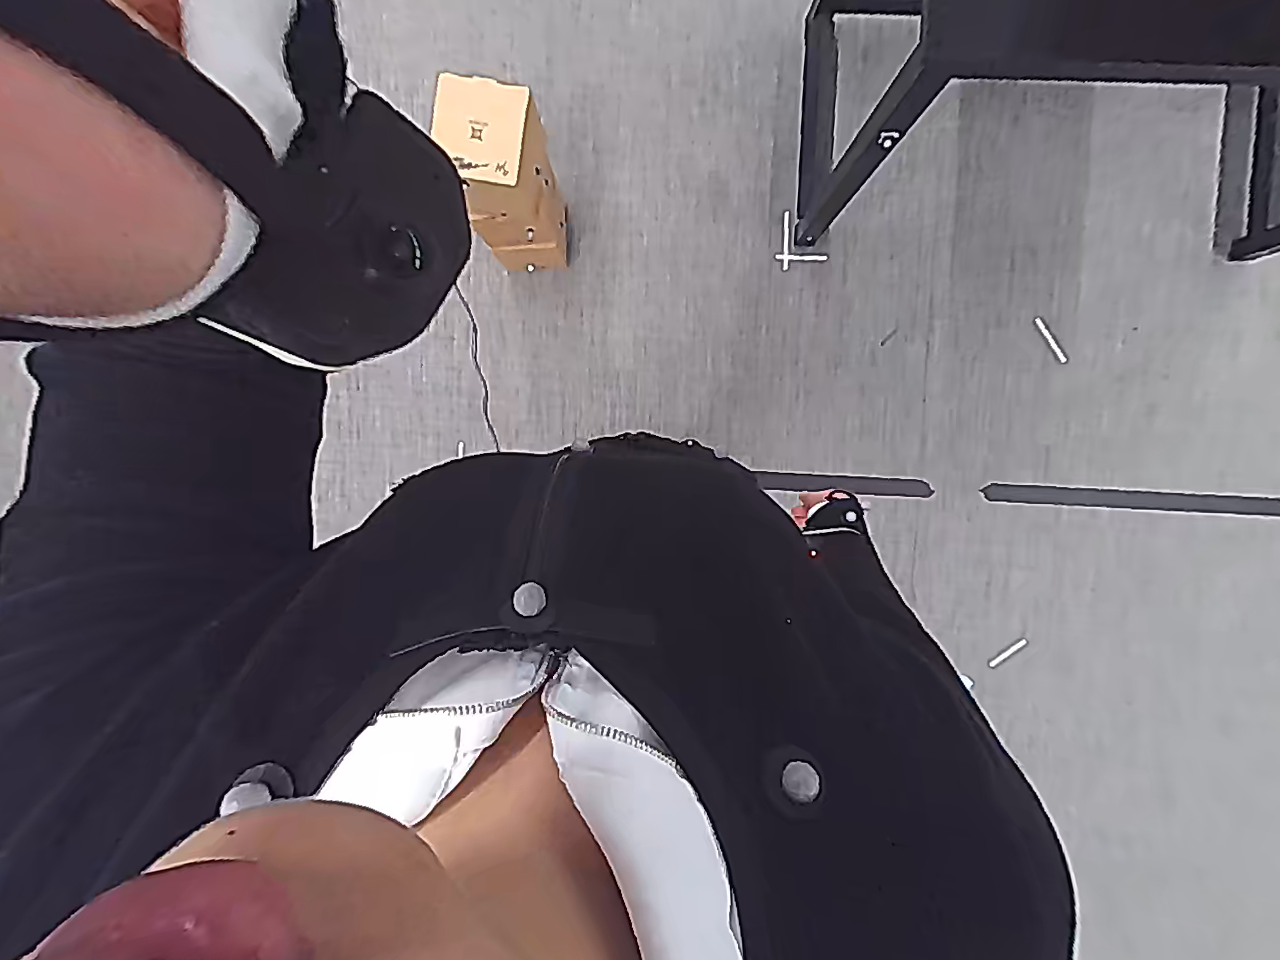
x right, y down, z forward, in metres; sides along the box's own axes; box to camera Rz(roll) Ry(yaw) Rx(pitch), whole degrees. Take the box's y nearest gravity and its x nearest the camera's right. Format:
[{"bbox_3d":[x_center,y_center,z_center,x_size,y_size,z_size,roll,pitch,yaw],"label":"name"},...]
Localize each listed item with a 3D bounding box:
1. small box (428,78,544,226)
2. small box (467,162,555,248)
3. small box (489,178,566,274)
[{"bbox_3d":[-0.291,-0.629,1.056,0.168,0.176,0.179,9,92,0],"label":"small box"},{"bbox_3d":[-0.291,-0.639,1.220,0.168,0.176,0.179,-5,92,0],"label":"small box"},{"bbox_3d":[-0.285,-0.642,1.382,0.168,0.176,0.179,-2,94,1],"label":"small box"}]
